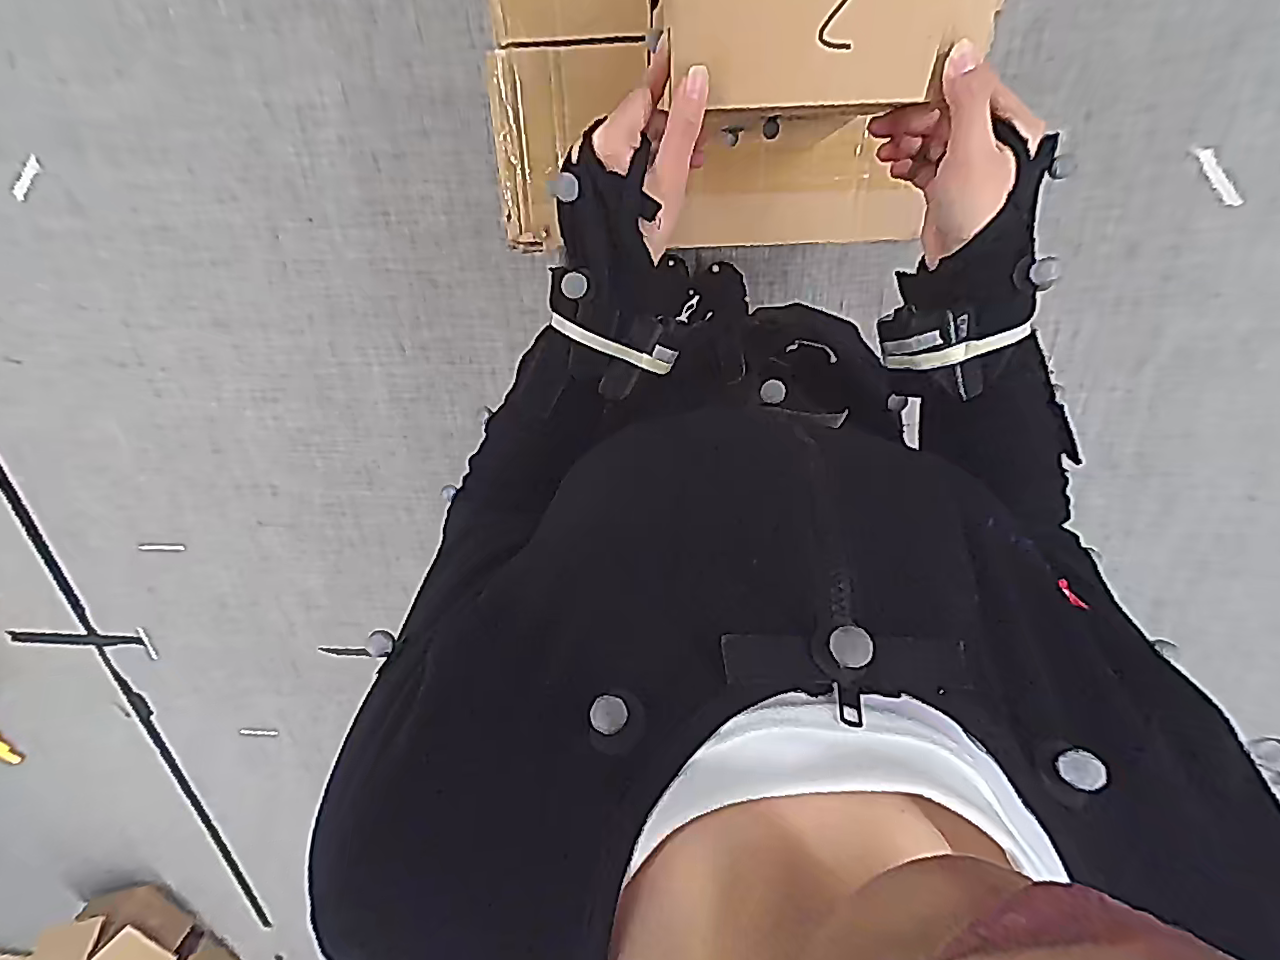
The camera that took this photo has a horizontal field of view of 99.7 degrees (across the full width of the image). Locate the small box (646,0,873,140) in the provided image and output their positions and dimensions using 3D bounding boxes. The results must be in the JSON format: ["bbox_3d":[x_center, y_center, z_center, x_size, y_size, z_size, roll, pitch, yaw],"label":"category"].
[{"bbox_3d":[0.099,-0.414,0.488,0.179,0.176,0.168,2,115,4],"label":"small box"}]
